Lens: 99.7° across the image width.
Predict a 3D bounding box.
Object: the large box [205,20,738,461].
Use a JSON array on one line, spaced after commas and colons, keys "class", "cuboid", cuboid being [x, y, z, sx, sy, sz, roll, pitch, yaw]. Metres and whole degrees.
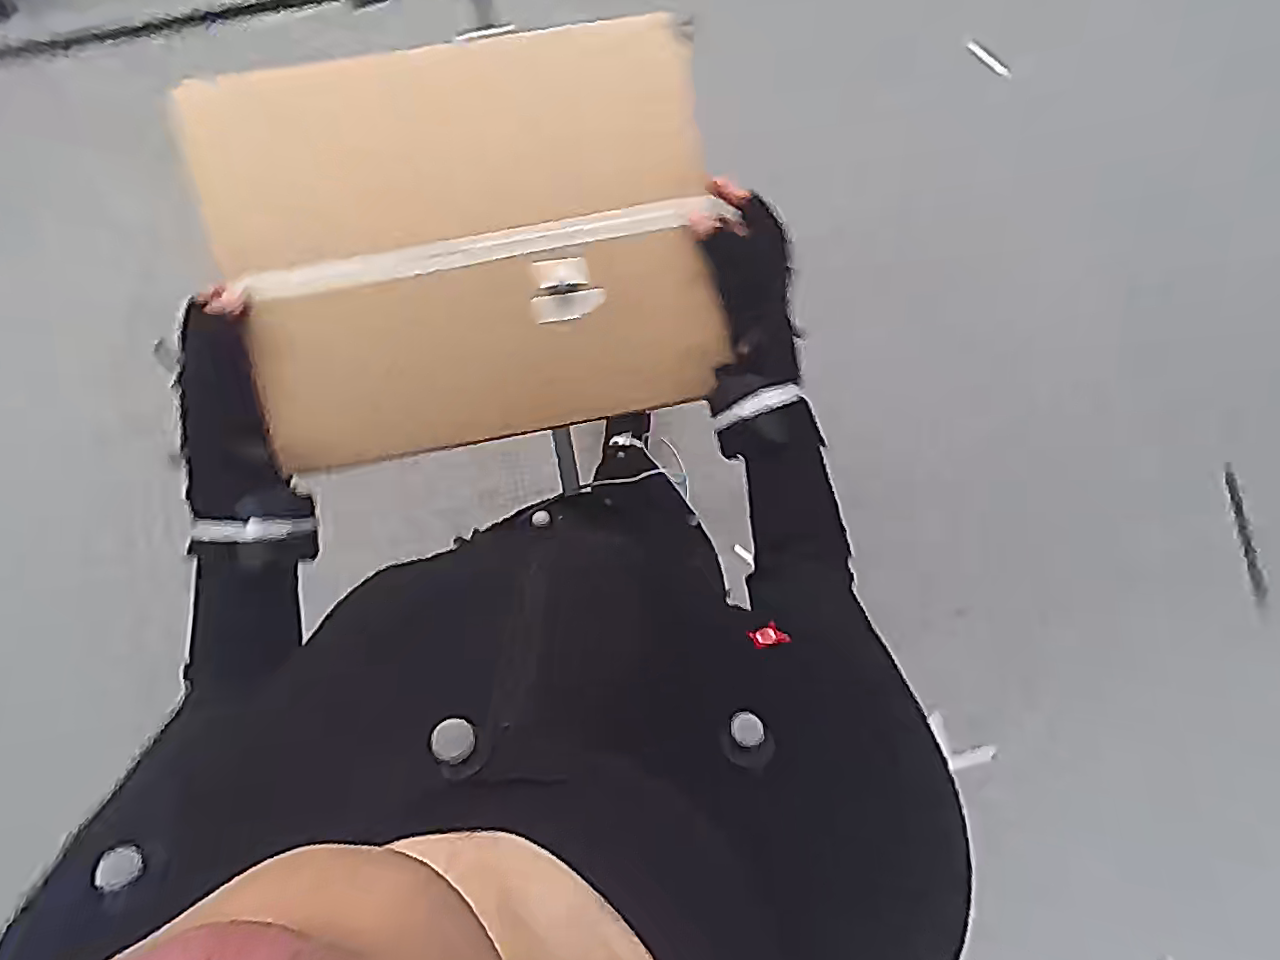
[{"class": "large box", "cuboid": [-0.145, -0.222, 0.612, 0.408, 0.320, 0.320, -11, 99, -4]}]
